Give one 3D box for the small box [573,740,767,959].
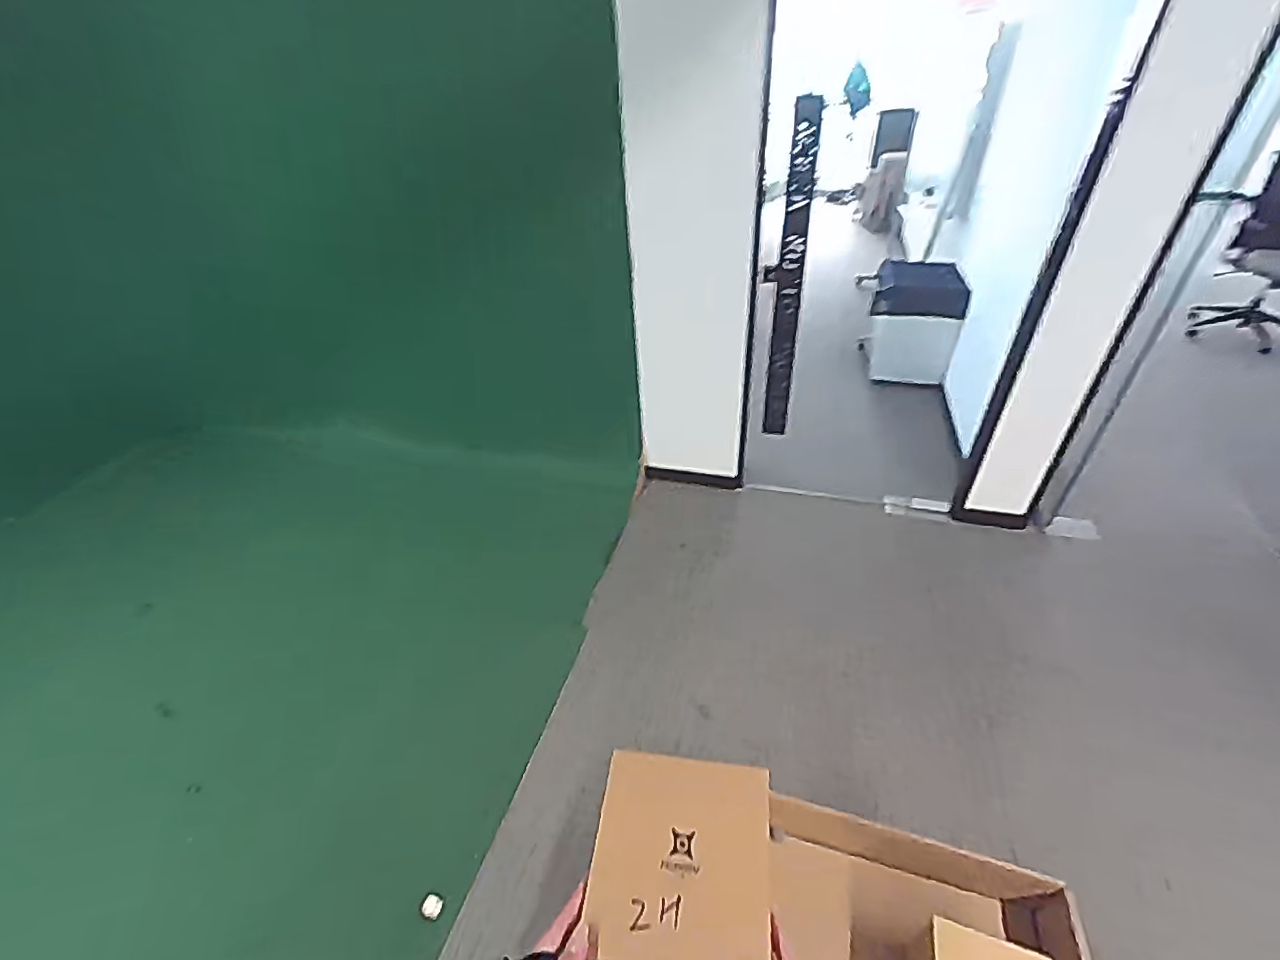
[{"bbox_3d":[0.041,0.402,0.559,0.168,0.176,0.179,3,41,11],"label":"small box"}]
